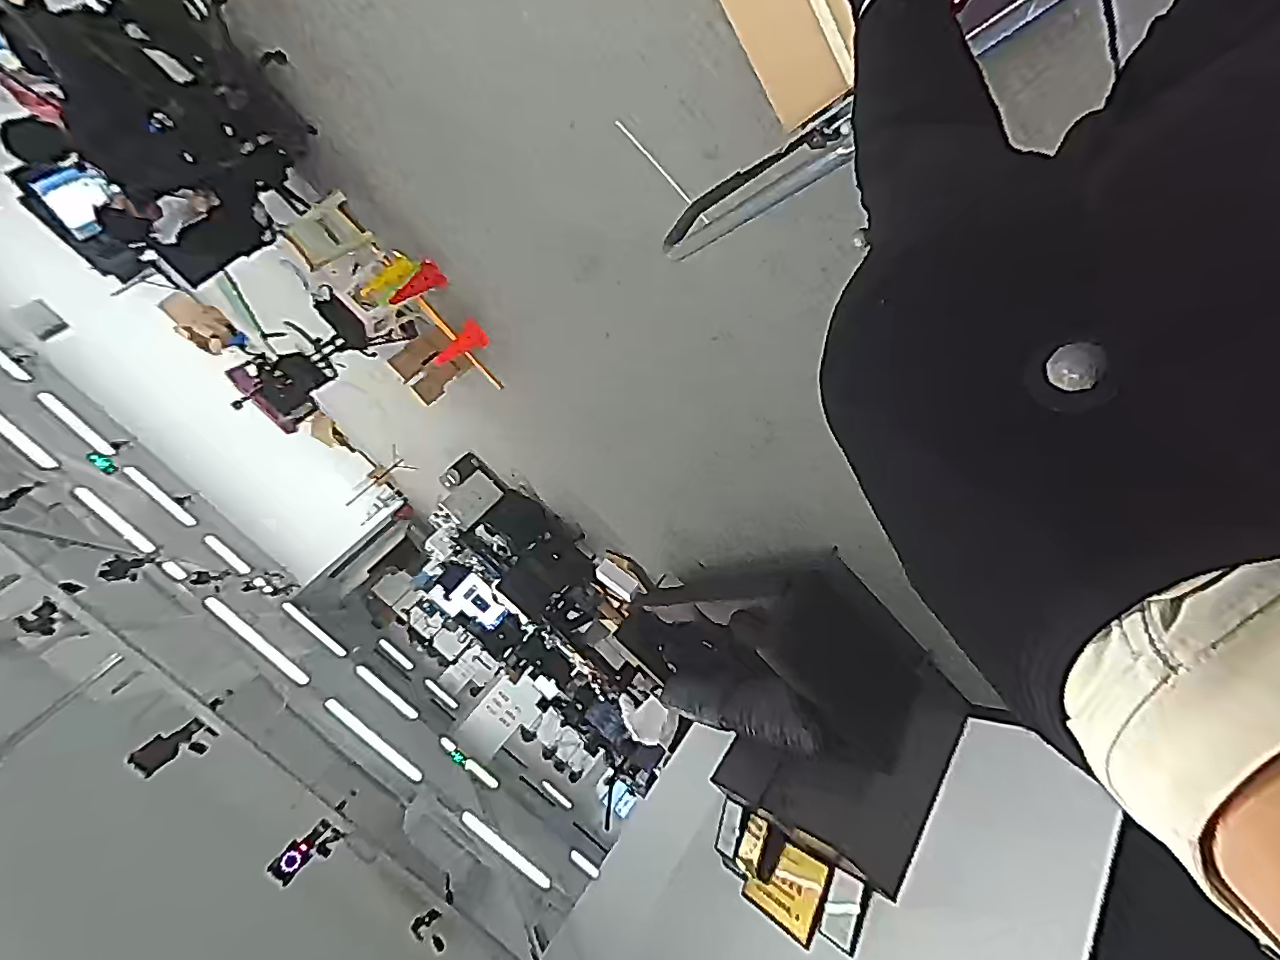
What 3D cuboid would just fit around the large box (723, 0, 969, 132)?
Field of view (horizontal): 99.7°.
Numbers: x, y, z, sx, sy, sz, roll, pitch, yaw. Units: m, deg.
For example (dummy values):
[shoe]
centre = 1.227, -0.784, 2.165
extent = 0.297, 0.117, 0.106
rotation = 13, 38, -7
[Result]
[large box]
centre = 0.357, -0.927, 0.928
extent = 0.408, 0.320, 0.320
rotation = 53, 152, -19
